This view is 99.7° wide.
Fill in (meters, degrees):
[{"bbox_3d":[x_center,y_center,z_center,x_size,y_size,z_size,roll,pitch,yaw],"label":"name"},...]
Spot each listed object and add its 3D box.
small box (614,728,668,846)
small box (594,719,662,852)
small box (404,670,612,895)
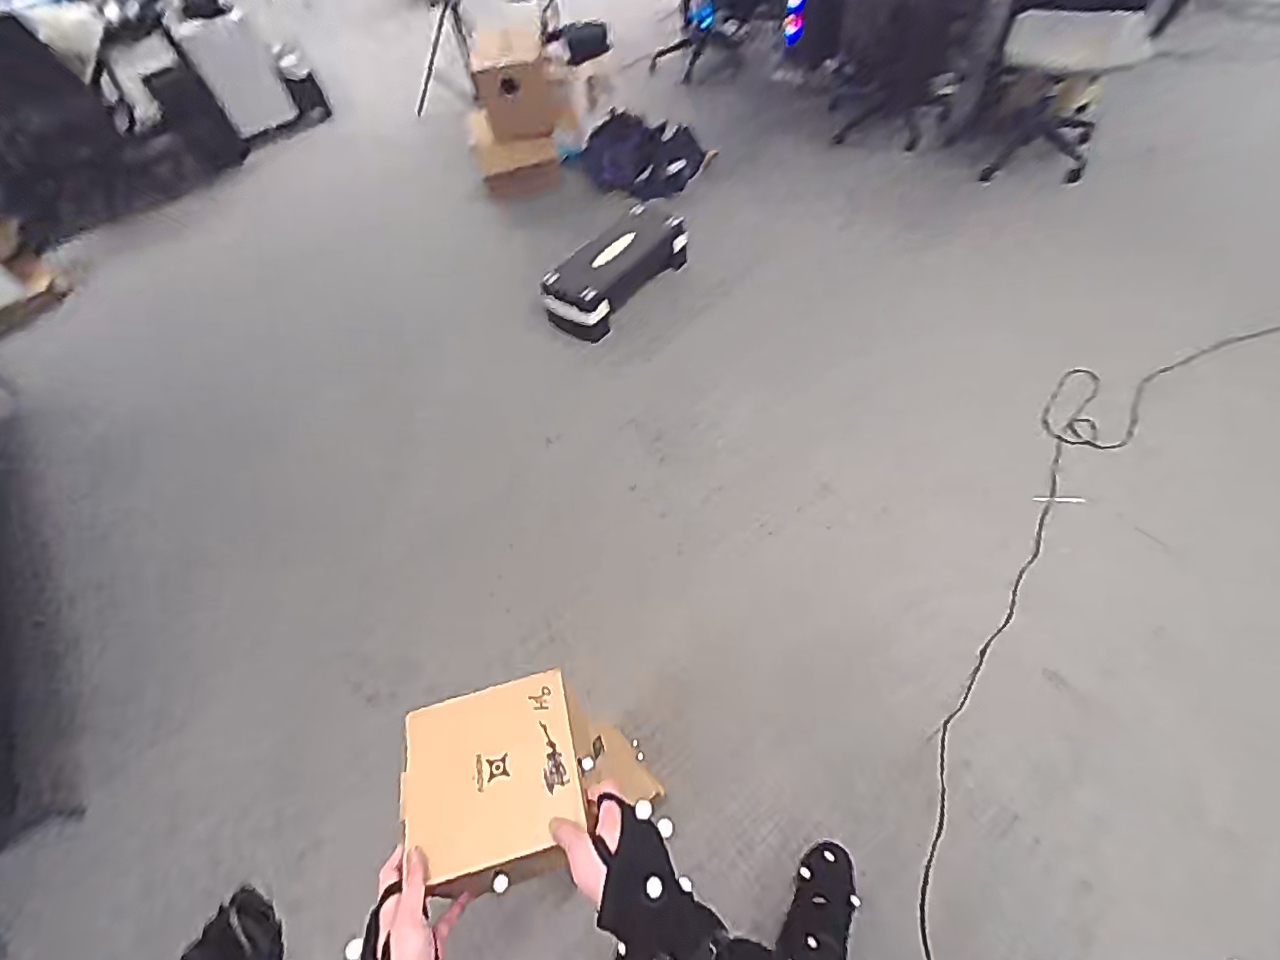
[{"bbox_3d":[-0.052,0.714,1.249,0.168,0.176,0.179,-39,61,-17],"label":"small box"},{"bbox_3d":[-0.072,0.630,1.108,0.168,0.176,0.179,-38,60,-16],"label":"small box"},{"bbox_3d":[-0.140,0.343,0.607,0.179,0.176,0.168,-14,51,-5],"label":"small box"}]
